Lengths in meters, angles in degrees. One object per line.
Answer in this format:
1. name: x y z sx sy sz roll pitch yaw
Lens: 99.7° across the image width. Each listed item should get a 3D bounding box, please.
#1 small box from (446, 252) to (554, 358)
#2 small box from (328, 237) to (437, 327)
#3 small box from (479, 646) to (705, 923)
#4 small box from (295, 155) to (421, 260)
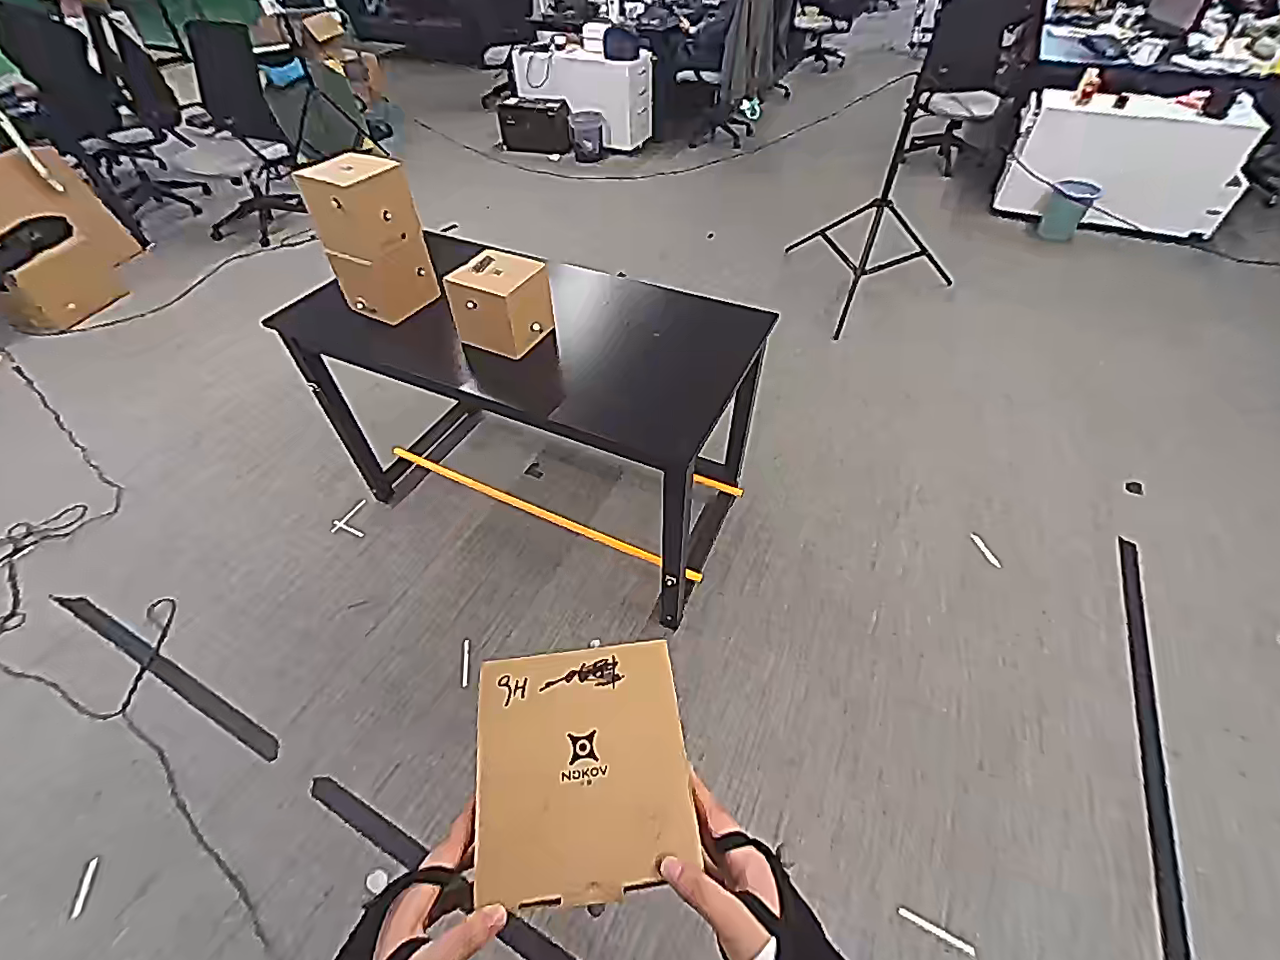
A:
1. small box: -0.326 -0.415 1.292 0.179 0.176 0.168 21 52 17
2. small box: -0.653 -0.527 1.400 0.168 0.176 0.179 22 53 20
3. small box: -0.044 0.269 0.493 0.168 0.176 0.179 -6 57 -6
4. small box: -0.657 -0.643 1.283 0.179 0.176 0.168 22 51 20
